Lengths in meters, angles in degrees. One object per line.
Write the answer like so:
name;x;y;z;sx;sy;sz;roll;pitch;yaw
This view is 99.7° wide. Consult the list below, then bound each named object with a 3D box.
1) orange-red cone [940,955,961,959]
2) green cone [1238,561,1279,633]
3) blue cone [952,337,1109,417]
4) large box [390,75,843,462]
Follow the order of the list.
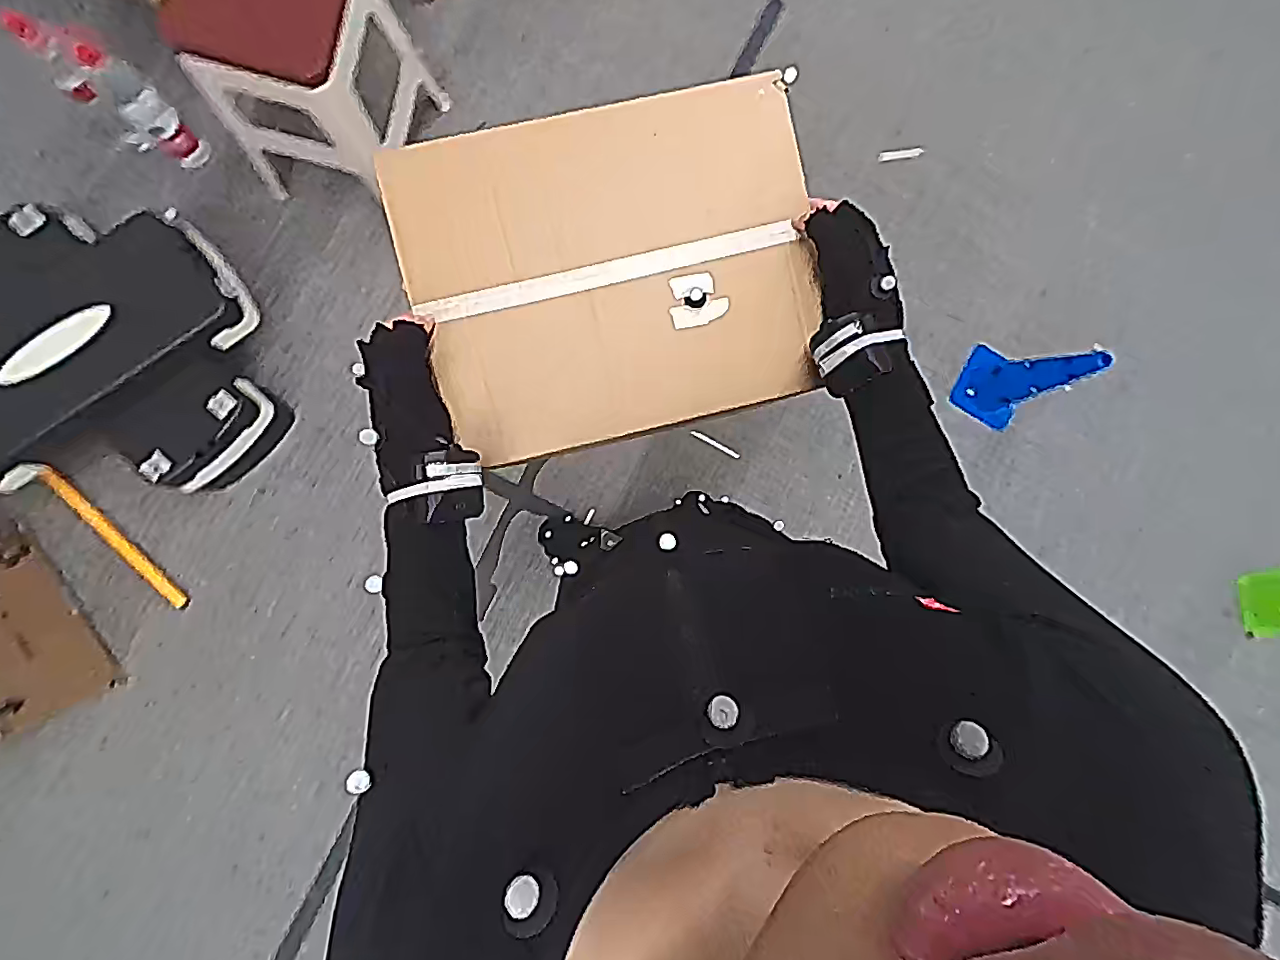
orange-red cone;0.933;1.486;1.387;0.199;0.360;0.198;25;88;-6
green cone;1.966;0.353;1.496;0.200;0.368;0.202;-10;89;-6
blue cone;1.043;-0.299;1.432;0.193;0.380;0.192;31;86;-5
large box;-0.028;-0.217;0.683;0.408;0.320;0.320;-13;94;-4
